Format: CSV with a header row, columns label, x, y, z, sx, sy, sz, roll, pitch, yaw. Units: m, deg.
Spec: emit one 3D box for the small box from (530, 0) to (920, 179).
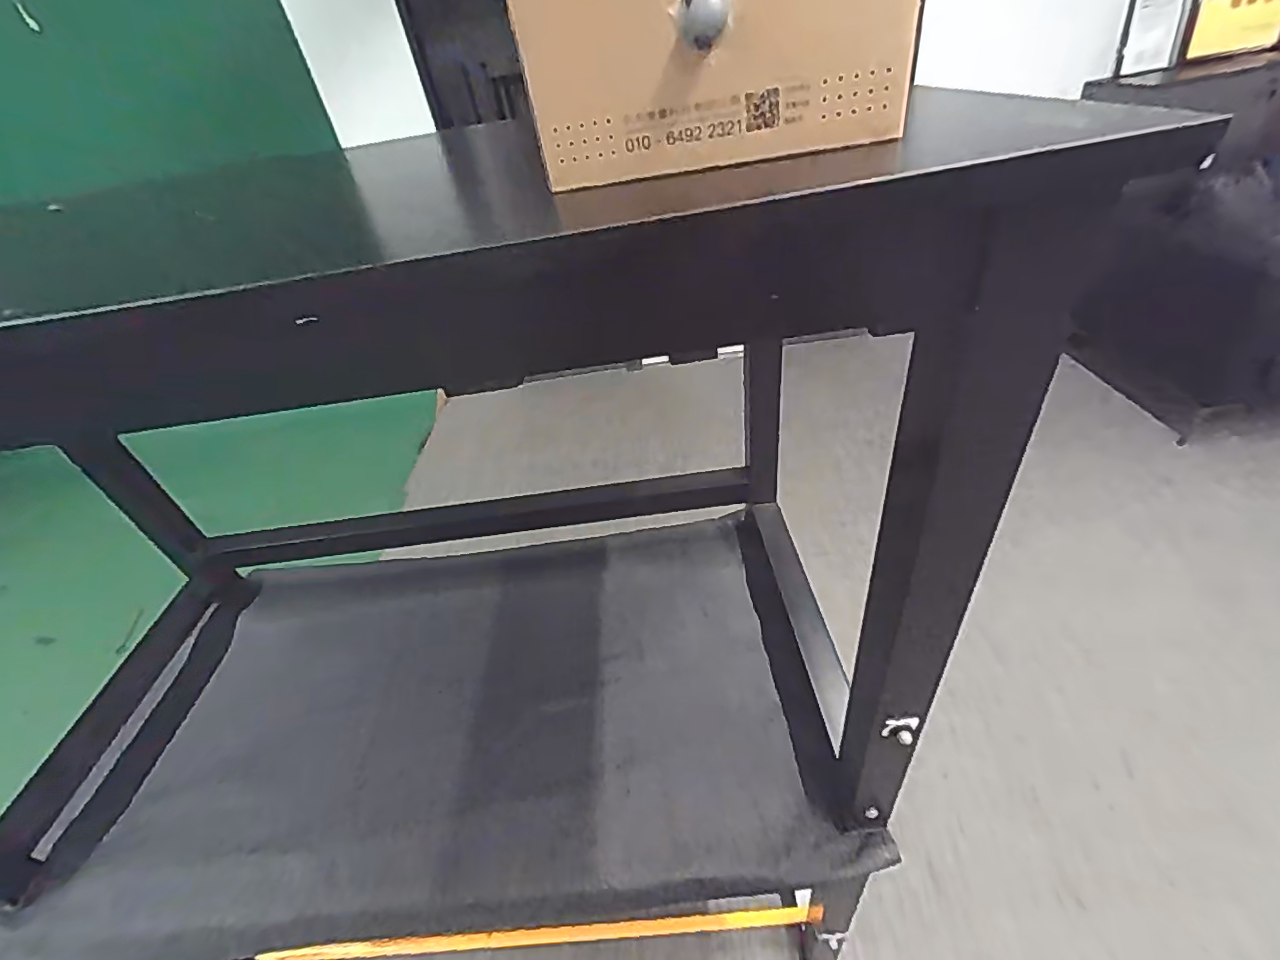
label,x,y,z,sx,sy,sz,roll,pitch,yaw
small box,0.037,-0.265,0.274,0.168,0.176,0.179,-3,38,10
